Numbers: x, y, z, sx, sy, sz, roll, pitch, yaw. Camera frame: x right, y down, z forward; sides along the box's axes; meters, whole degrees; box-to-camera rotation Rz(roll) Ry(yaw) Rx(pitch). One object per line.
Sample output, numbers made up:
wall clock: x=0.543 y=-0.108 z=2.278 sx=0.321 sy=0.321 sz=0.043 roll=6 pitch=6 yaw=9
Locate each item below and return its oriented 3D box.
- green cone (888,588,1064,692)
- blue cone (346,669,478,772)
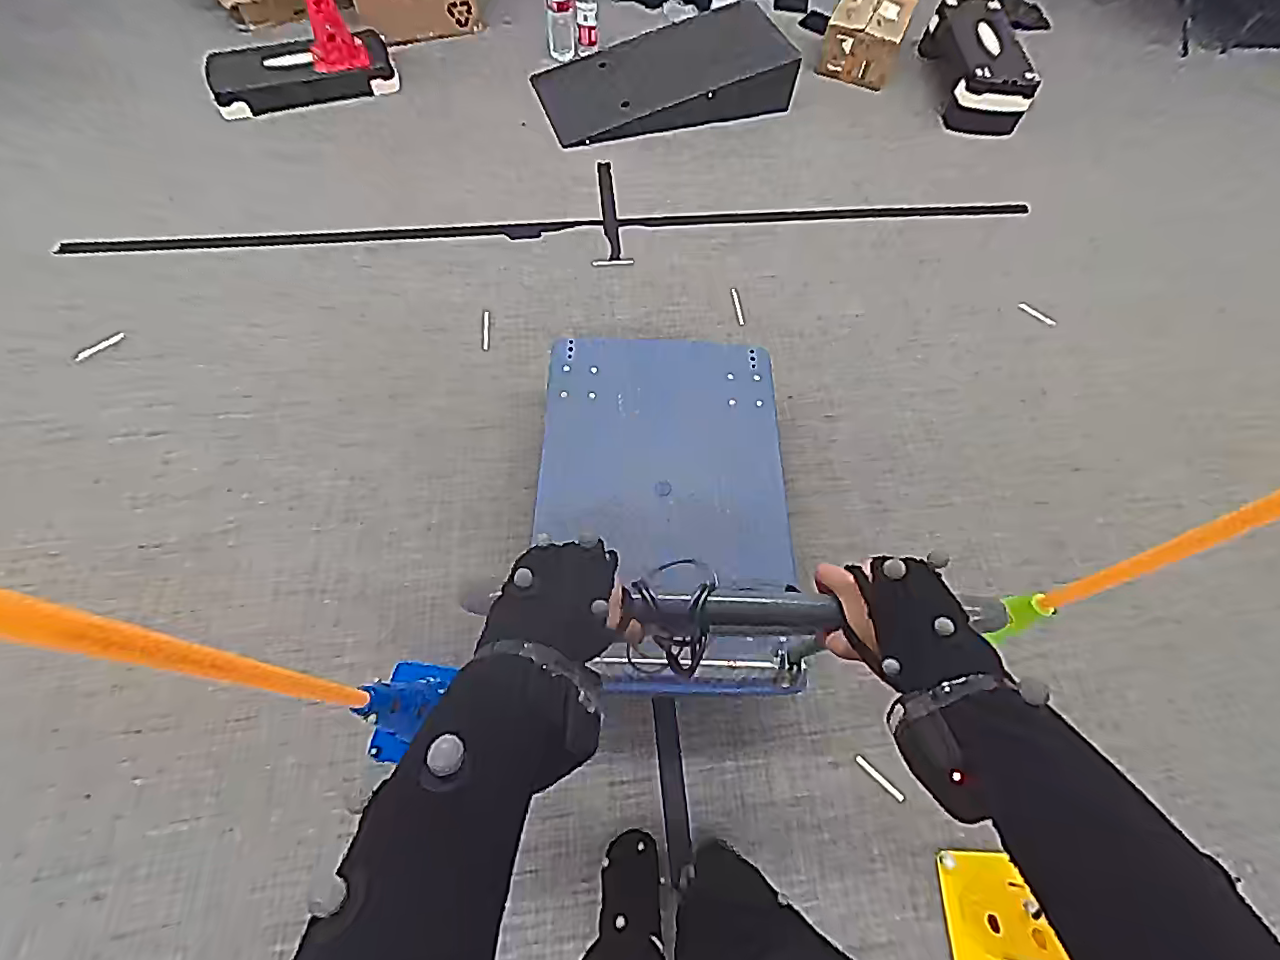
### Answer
green cone: x=0.722 y=0.299 z=1.126 sx=0.200 sy=0.368 sz=0.202 roll=-17 pitch=67 yaw=-11
blue cone: x=-0.445 y=0.435 z=1.005 sx=0.193 sy=0.380 sz=0.192 roll=9 pitch=64 yaw=1
